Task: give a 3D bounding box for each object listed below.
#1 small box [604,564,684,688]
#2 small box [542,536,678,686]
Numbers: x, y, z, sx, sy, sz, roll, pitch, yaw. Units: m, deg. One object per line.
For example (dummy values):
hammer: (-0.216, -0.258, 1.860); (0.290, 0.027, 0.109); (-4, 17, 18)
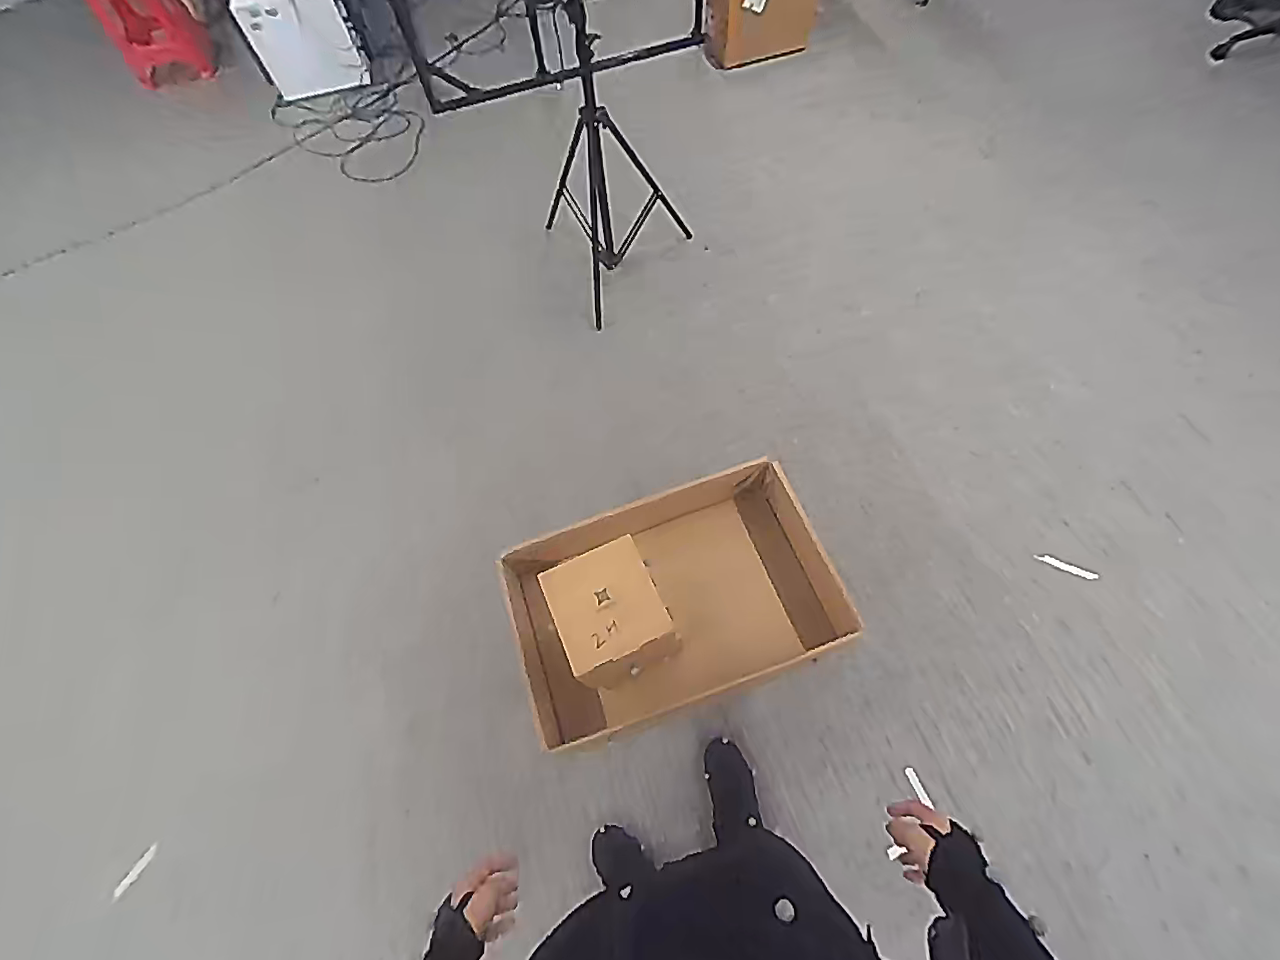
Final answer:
small box: (-0.028, 0.289, 1.061); (0.179, 0.176, 0.168); (-26, 65, -8)
small box: (-0.046, 0.226, 0.910); (0.168, 0.176, 0.179); (-24, 64, -7)
